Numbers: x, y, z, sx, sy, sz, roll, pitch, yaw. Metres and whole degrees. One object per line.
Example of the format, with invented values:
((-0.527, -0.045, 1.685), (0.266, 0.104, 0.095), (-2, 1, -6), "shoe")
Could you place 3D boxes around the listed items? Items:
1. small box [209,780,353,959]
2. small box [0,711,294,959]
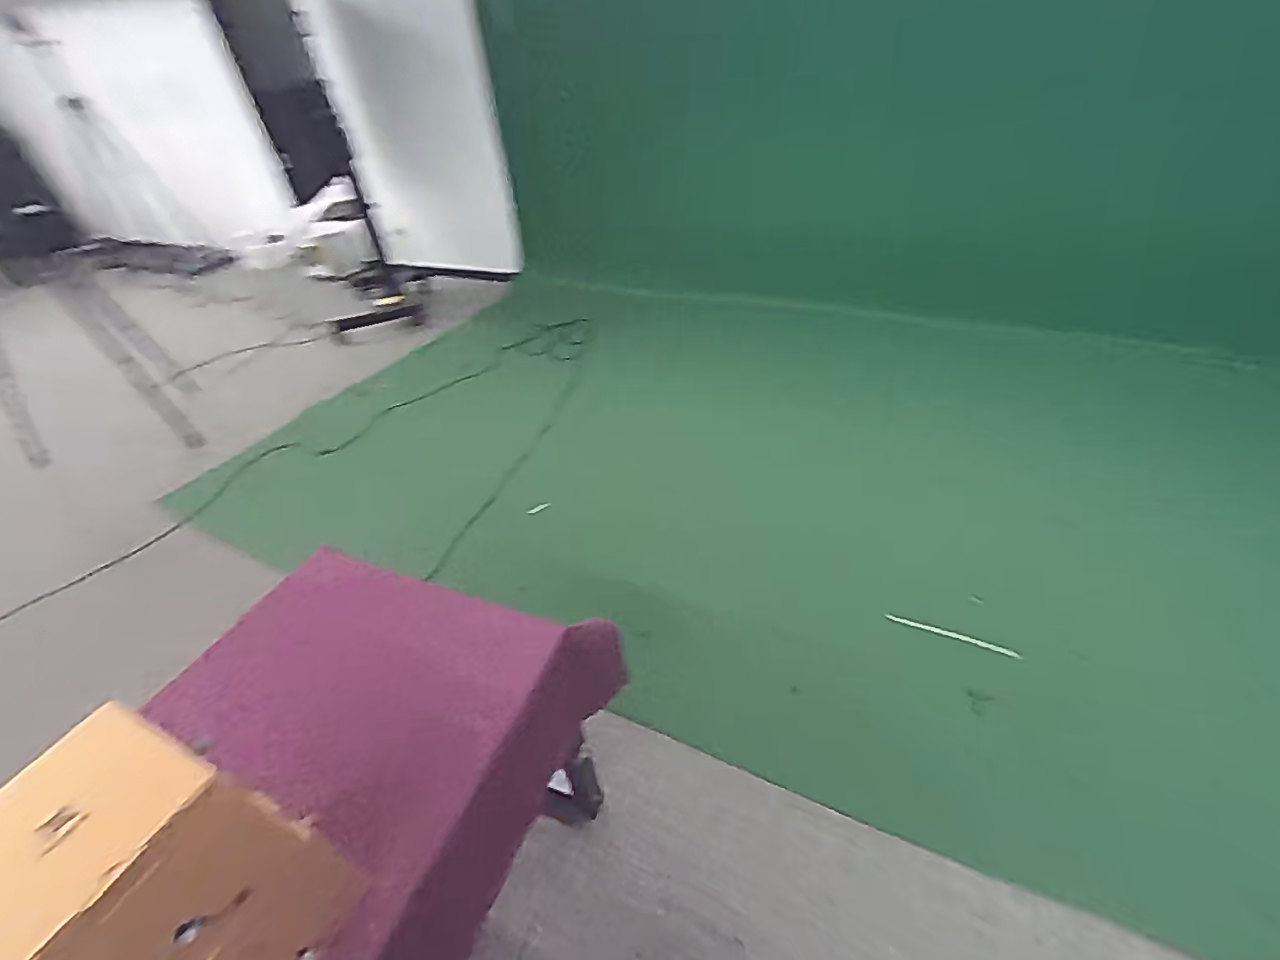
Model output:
((-0.453, 0.482, 0.598), (0.168, 0.176, 0.179), (12, 41, 21), "small box")
((-0.476, 0.354, 0.498), (0.179, 0.176, 0.168), (14, 43, 21), "small box")
